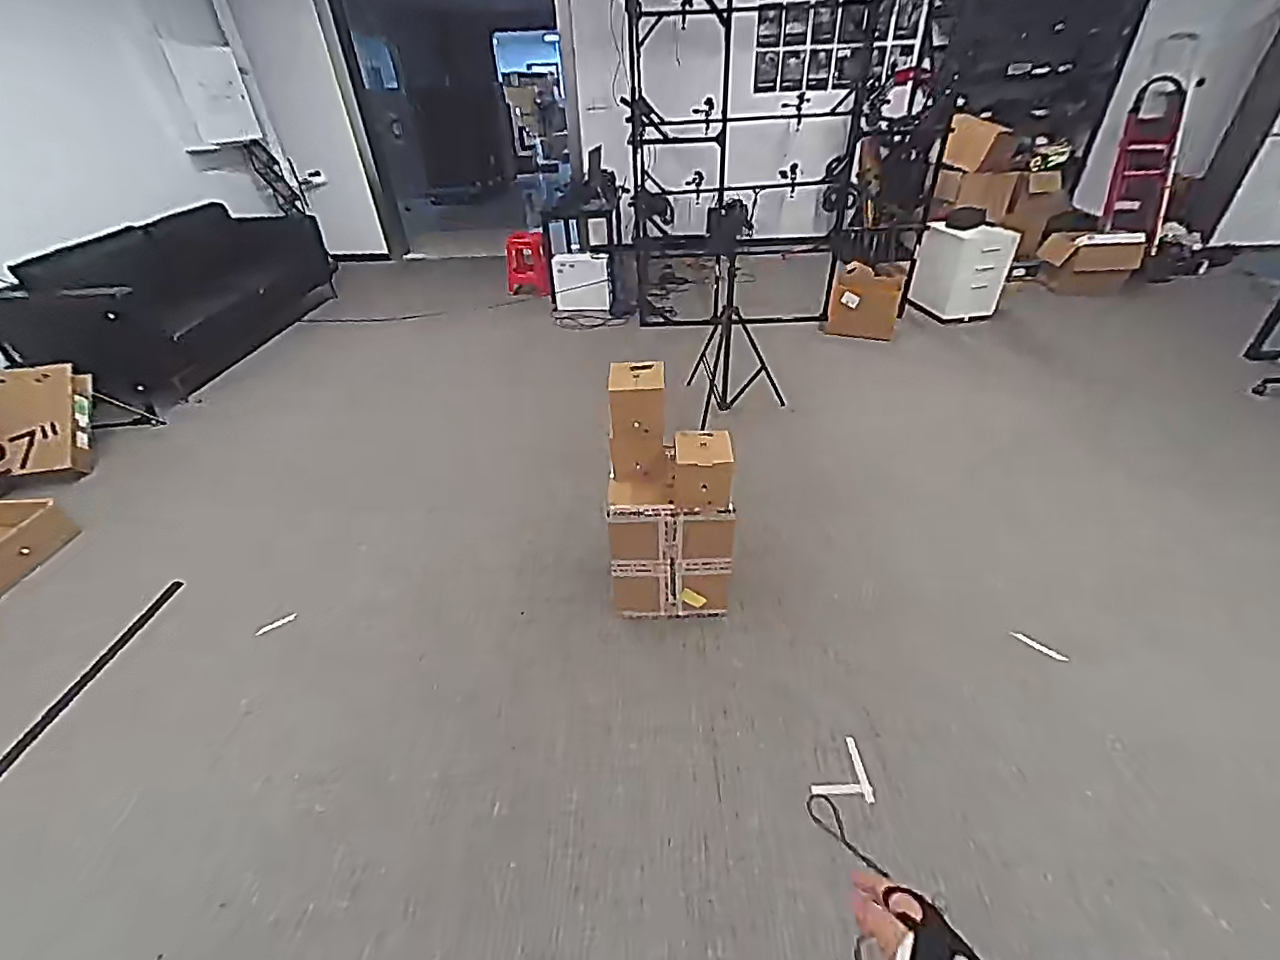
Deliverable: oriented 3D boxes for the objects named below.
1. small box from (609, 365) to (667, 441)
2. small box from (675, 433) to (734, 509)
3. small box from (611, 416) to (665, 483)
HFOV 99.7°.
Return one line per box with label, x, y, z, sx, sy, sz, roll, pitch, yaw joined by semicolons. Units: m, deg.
small box;-0.002;-0.237;1.665;0.168;0.176;0.179;-3;38;3
small box;0.191;-0.024;1.642;0.168;0.176;0.179;0;38;2
small box;-0.007;-0.109;1.770;0.168;0.176;0.179;-5;38;1
